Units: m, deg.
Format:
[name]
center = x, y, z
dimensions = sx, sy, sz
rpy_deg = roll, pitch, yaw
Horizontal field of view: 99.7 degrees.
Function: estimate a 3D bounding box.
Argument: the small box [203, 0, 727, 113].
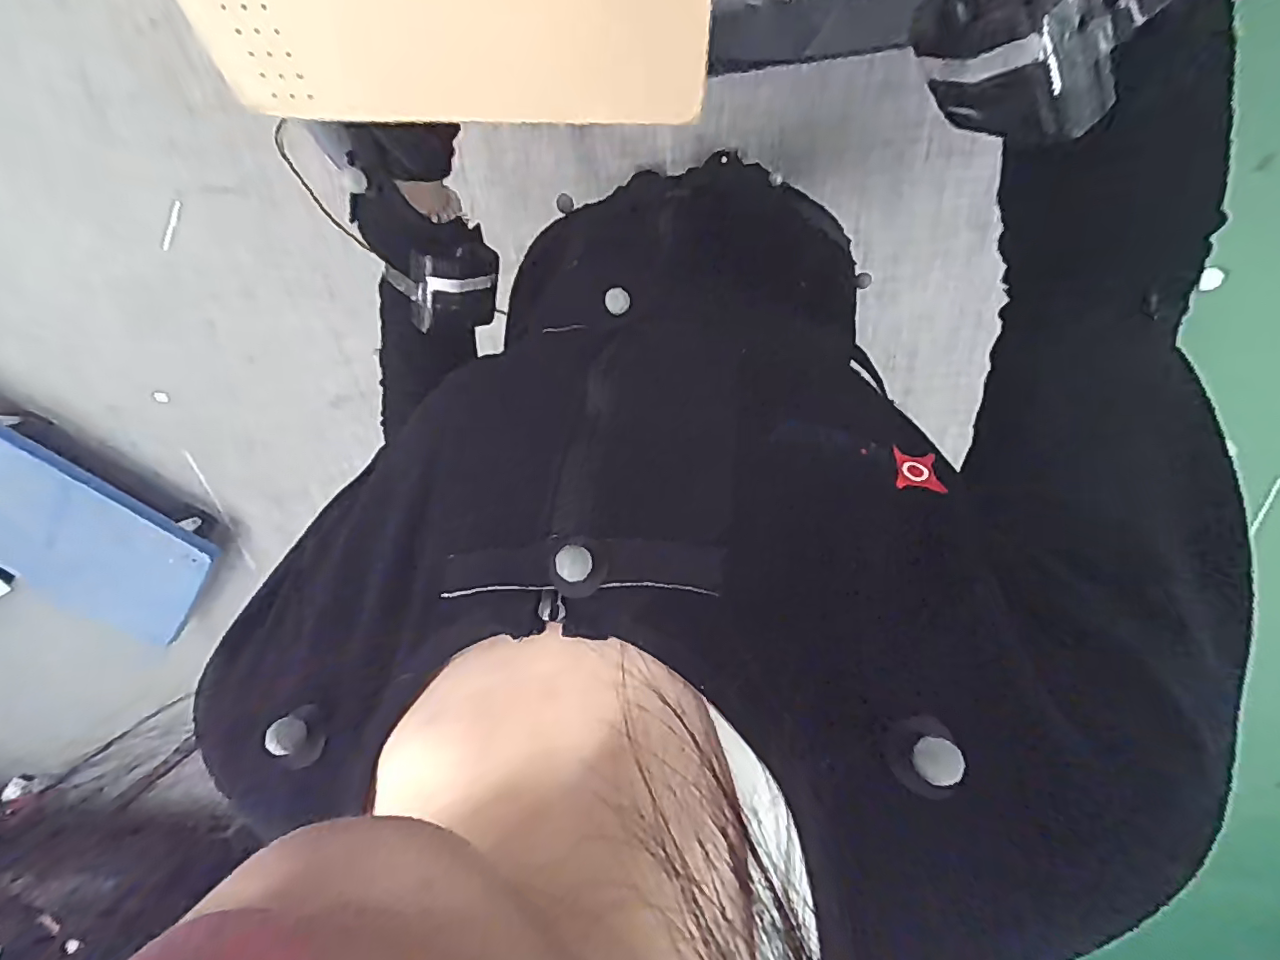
[small box]
center = -0.054, -0.248, 0.167
dimensions = 0.176, 0.179, 0.168
rpy_deg = 2, 152, 3
